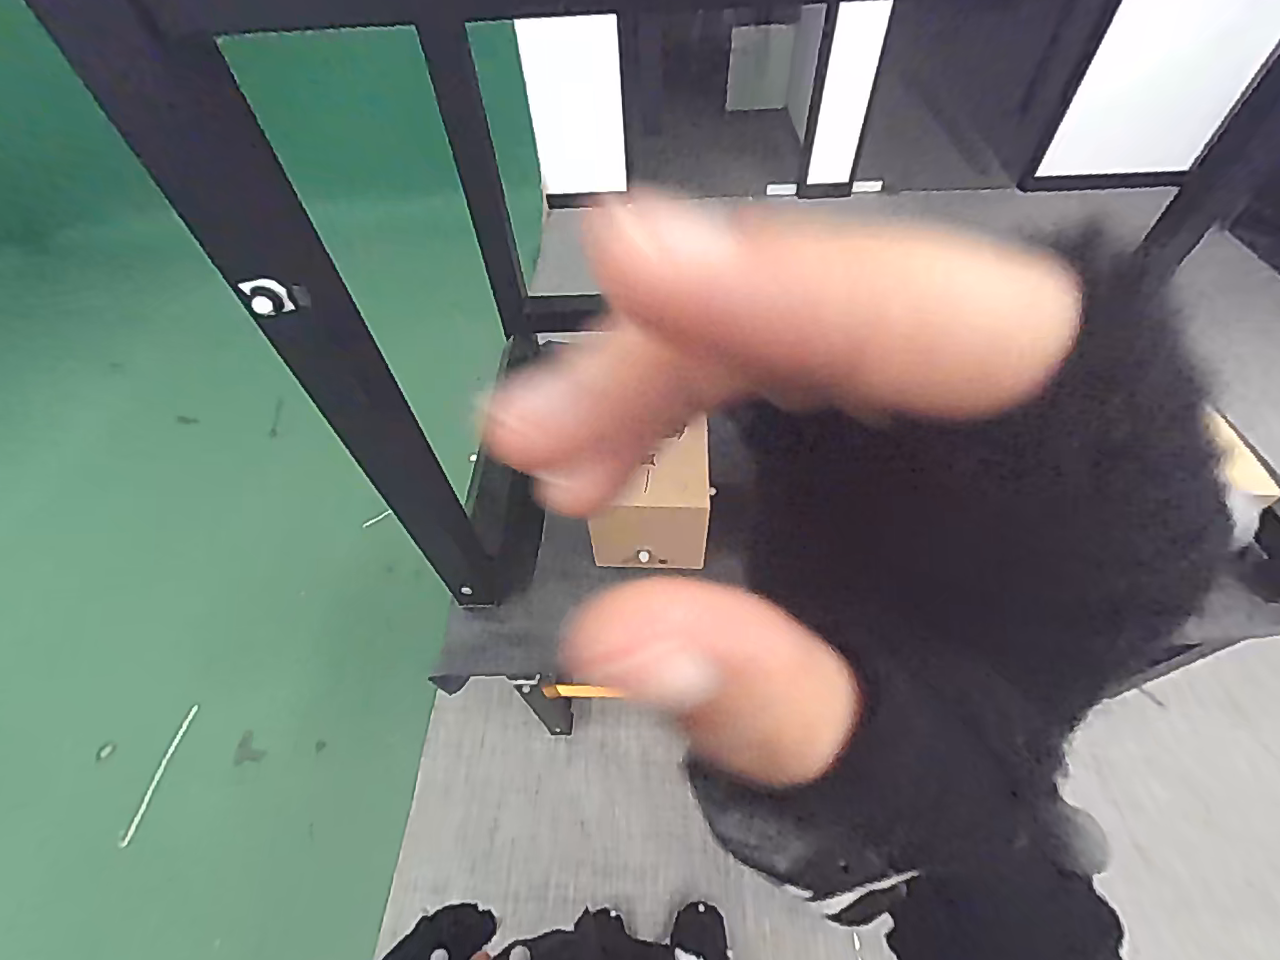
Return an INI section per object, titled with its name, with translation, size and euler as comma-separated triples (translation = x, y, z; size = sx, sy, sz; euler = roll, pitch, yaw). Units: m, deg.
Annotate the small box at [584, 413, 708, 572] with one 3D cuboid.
[small box]
translation = 0.014, 0.020, 0.816
size = 0.168, 0.176, 0.179
euler = 1, 53, 4
